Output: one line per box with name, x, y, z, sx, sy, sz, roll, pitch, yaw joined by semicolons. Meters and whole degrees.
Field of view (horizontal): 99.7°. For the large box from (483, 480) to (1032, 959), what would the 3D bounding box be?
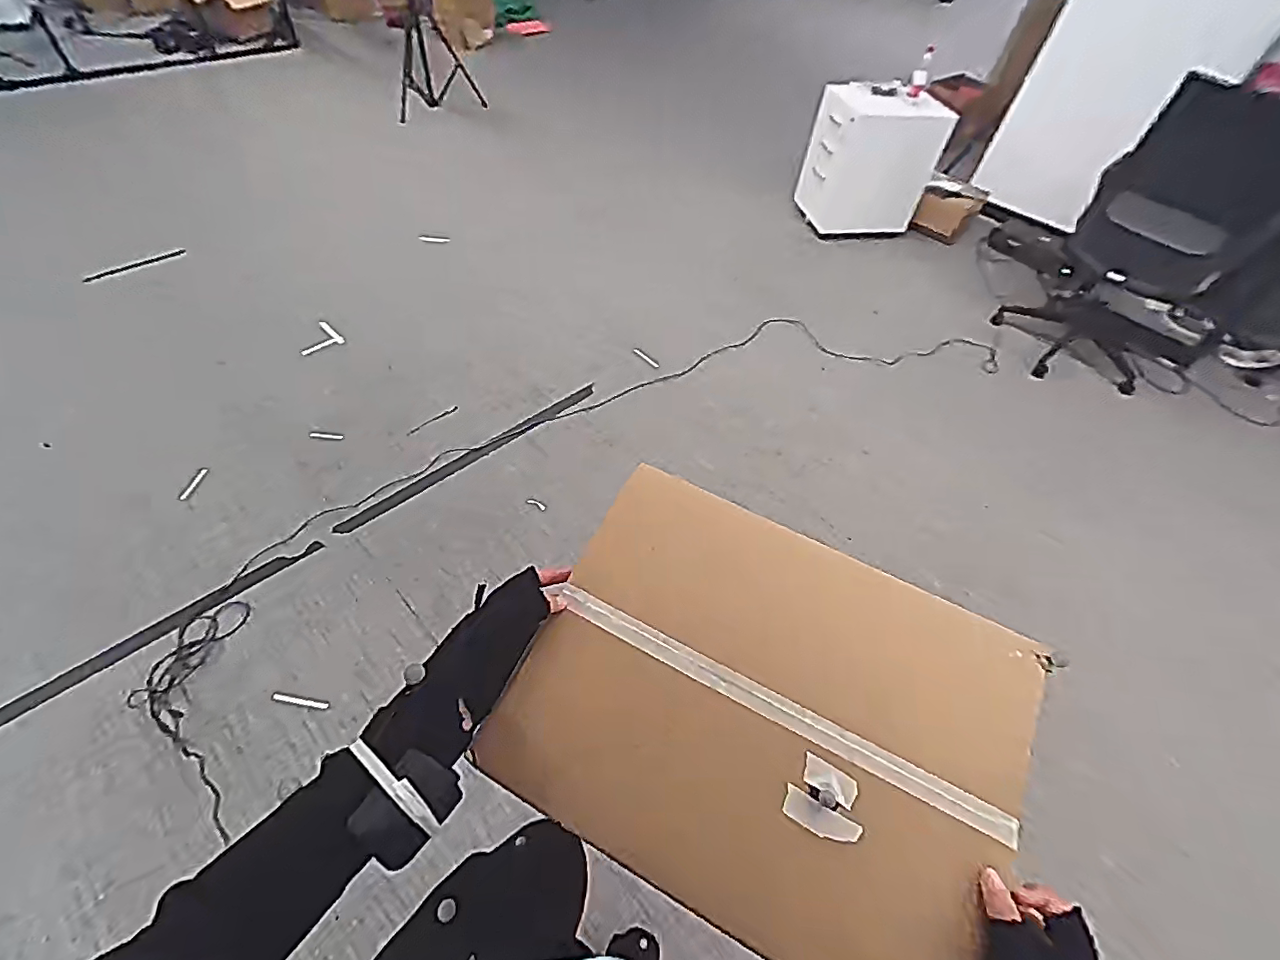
large box;0.110;0.263;0.601;0.408;0.320;0.320;25;67;13
